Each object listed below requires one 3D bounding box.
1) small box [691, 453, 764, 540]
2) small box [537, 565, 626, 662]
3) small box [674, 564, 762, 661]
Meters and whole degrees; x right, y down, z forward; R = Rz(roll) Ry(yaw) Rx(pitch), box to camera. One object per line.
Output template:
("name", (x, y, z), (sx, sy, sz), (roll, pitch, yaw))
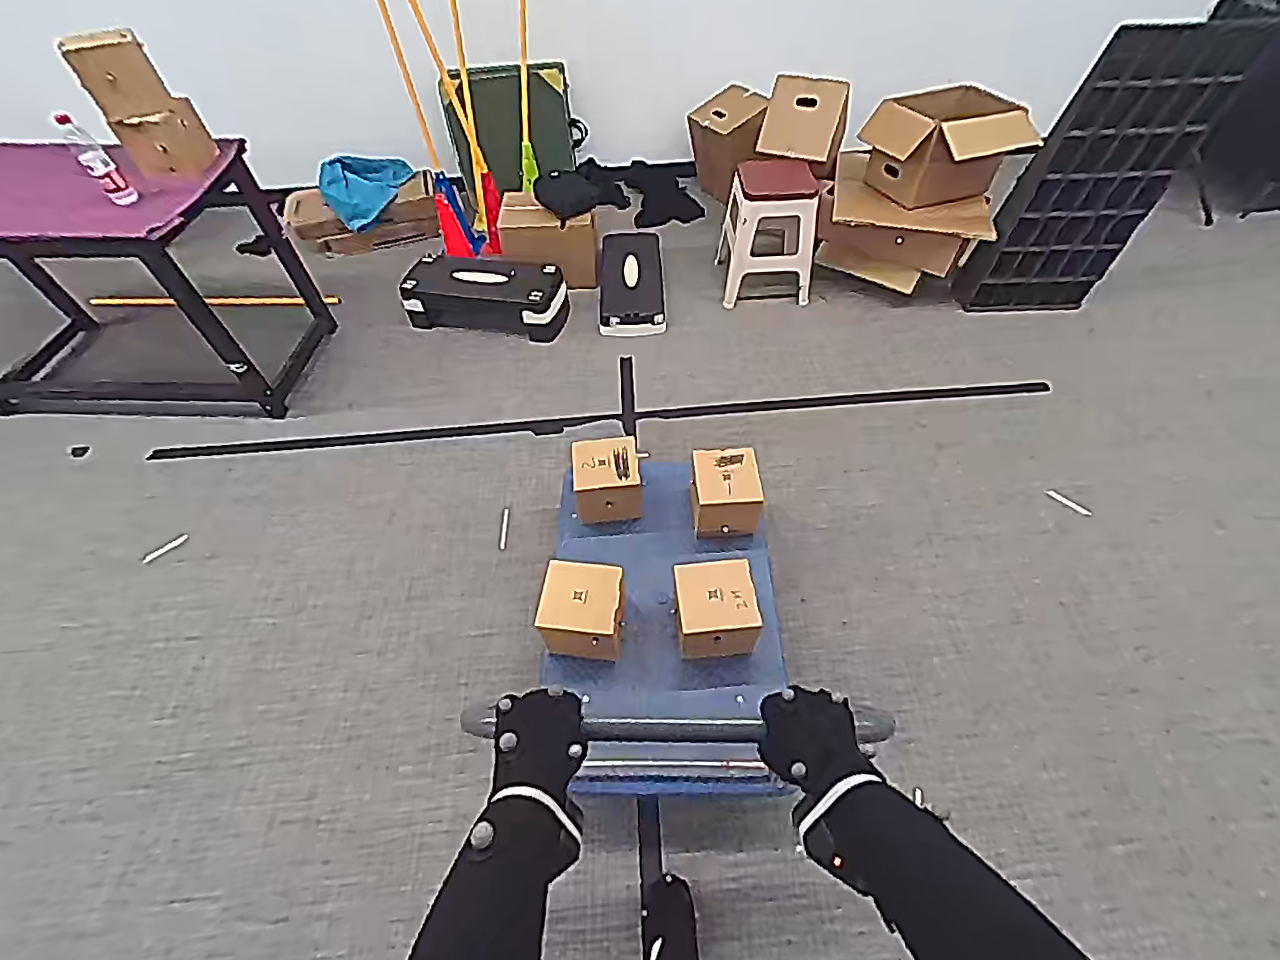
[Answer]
("small box", (0.230, 0.047, 1.471), (0.168, 0.176, 0.179), (-3, 54, 0))
("small box", (-0.130, 0.320, 1.281), (0.179, 0.176, 0.168), (5, 53, 4))
("small box", (0.175, 0.316, 1.273), (0.179, 0.176, 0.168), (-5, 54, -1))
